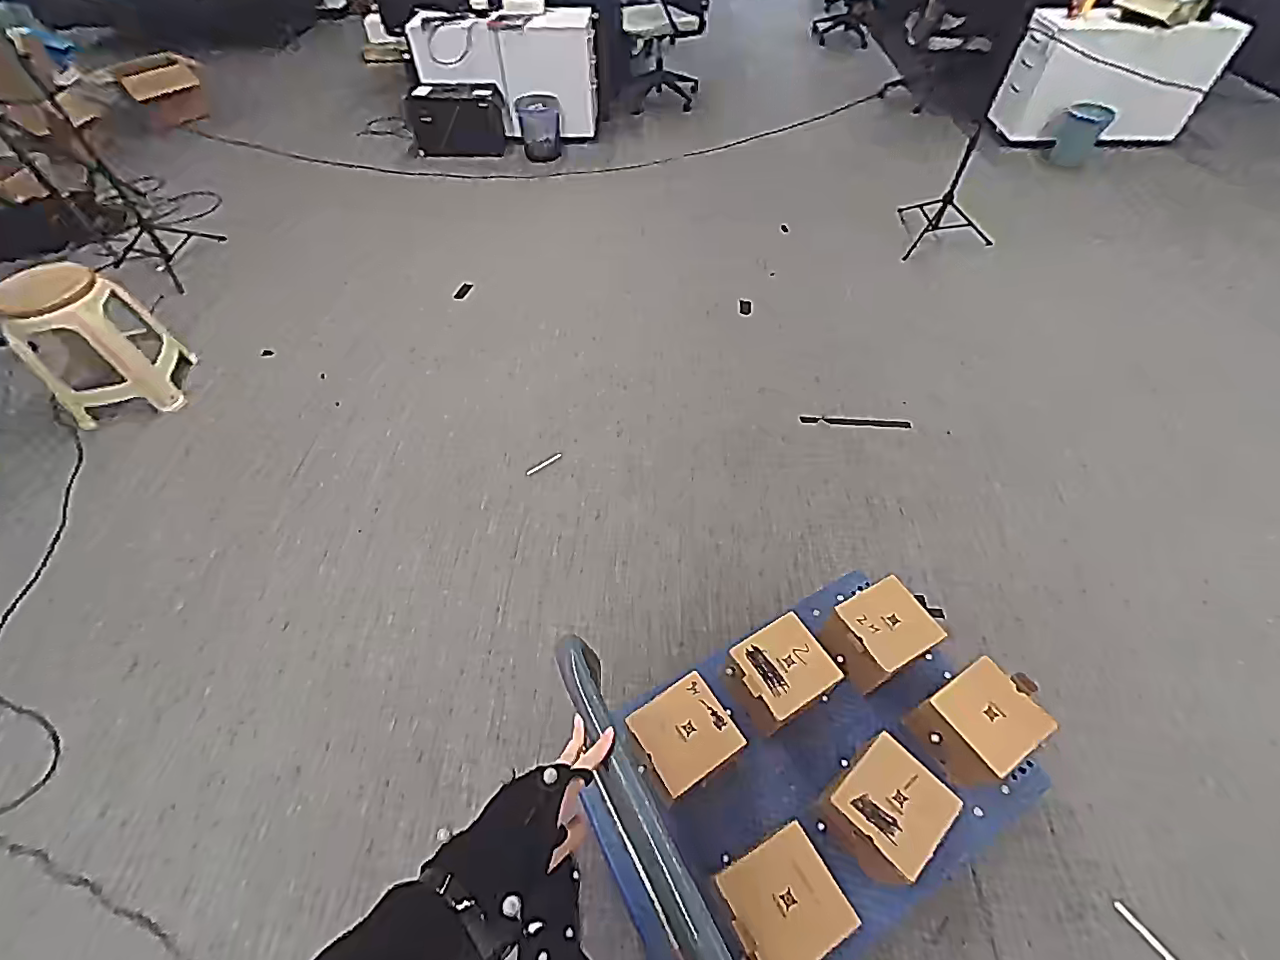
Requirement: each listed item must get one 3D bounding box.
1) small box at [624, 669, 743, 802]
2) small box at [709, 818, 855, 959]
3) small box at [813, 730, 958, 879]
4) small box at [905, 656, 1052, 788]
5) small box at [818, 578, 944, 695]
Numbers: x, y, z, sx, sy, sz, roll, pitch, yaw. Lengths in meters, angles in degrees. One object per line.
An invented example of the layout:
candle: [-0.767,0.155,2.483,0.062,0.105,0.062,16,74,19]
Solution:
small box: [0.084,0.525,1.101,0.179,0.176,0.168,-27,58,-19]
small box: [0.233,0.731,0.946,0.179,0.176,0.168,-23,57,-18]
small box: [0.452,0.621,1.029,0.179,0.176,0.168,-34,60,-24]
small box: [0.681,0.504,1.118,0.179,0.176,0.168,-26,57,-19]
small box: [0.535,0.357,1.229,0.179,0.176,0.168,-23,56,-16]
